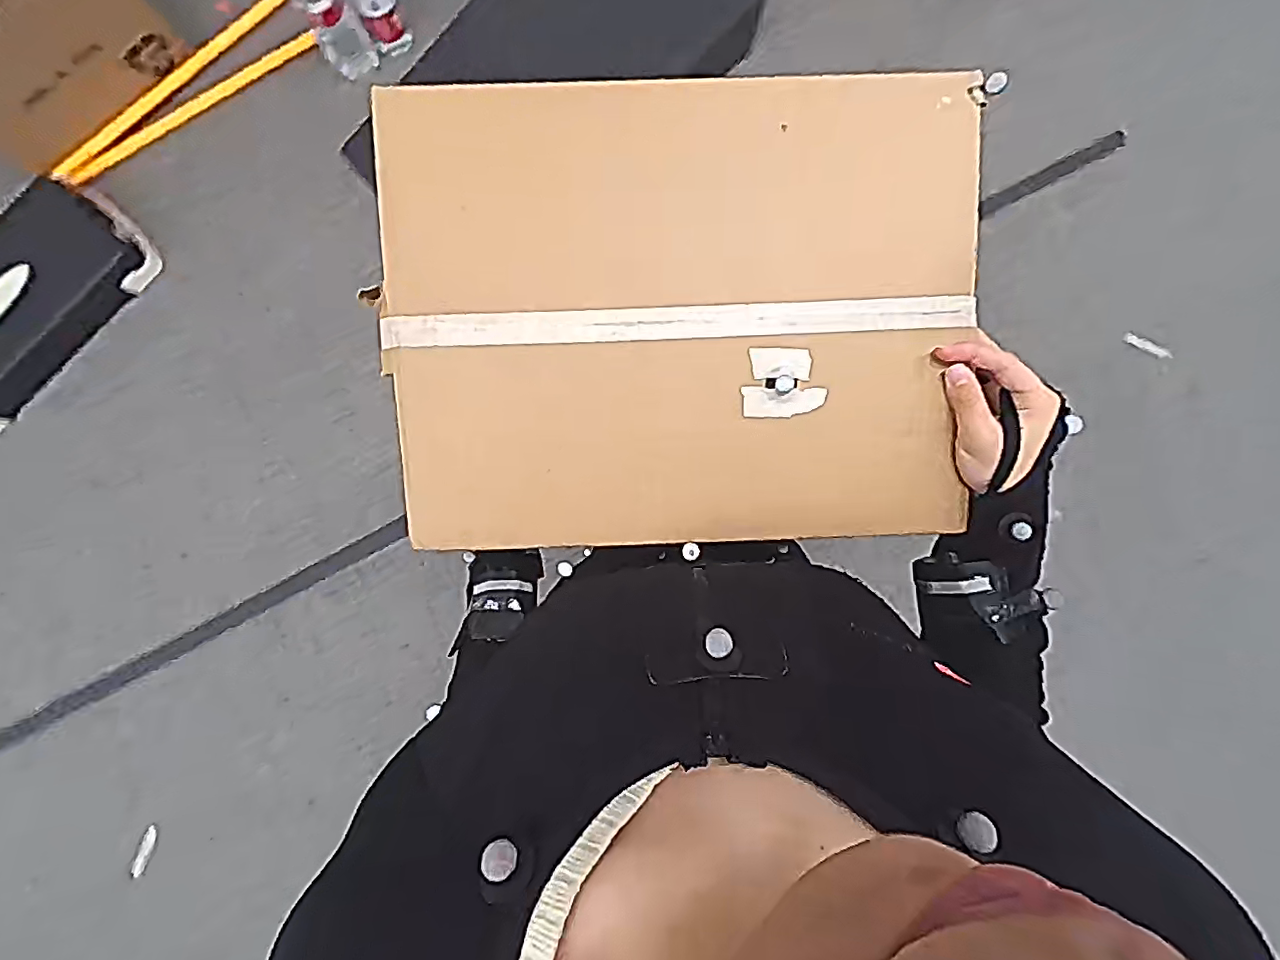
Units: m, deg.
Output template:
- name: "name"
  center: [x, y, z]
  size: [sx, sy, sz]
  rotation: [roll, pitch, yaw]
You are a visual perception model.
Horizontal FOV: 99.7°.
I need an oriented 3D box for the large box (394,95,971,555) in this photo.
- name: "large box"
  center: [0.031, -0.122, 0.533]
  size: [0.408, 0.320, 0.320]
  rotation: [-2, 97, -2]
